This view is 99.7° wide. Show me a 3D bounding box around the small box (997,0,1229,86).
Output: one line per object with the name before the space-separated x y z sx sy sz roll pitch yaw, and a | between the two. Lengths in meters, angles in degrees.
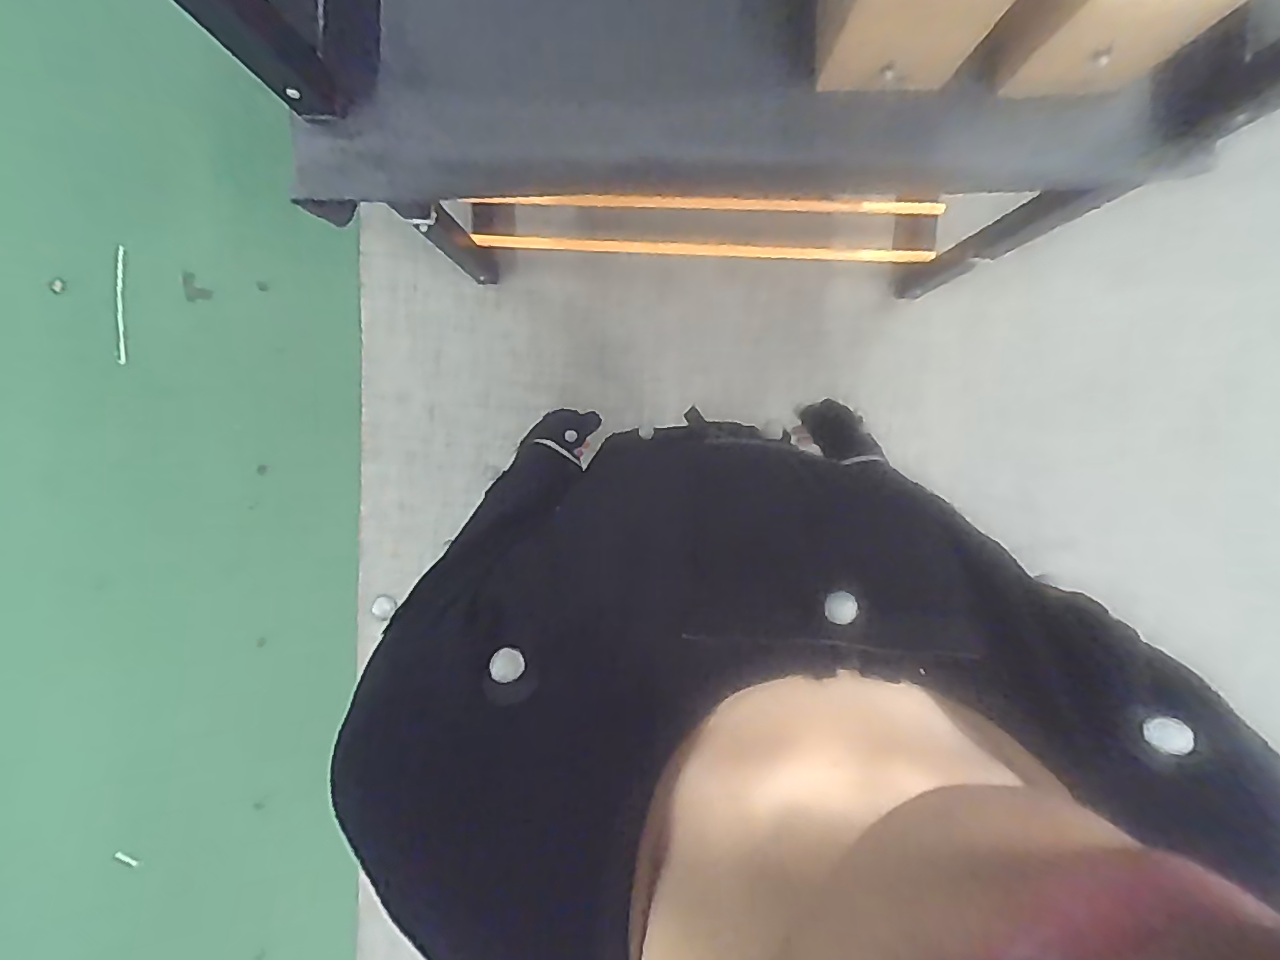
small box | 0.539 -0.583 0.614 0.168 0.176 0.179 -2 94 1
